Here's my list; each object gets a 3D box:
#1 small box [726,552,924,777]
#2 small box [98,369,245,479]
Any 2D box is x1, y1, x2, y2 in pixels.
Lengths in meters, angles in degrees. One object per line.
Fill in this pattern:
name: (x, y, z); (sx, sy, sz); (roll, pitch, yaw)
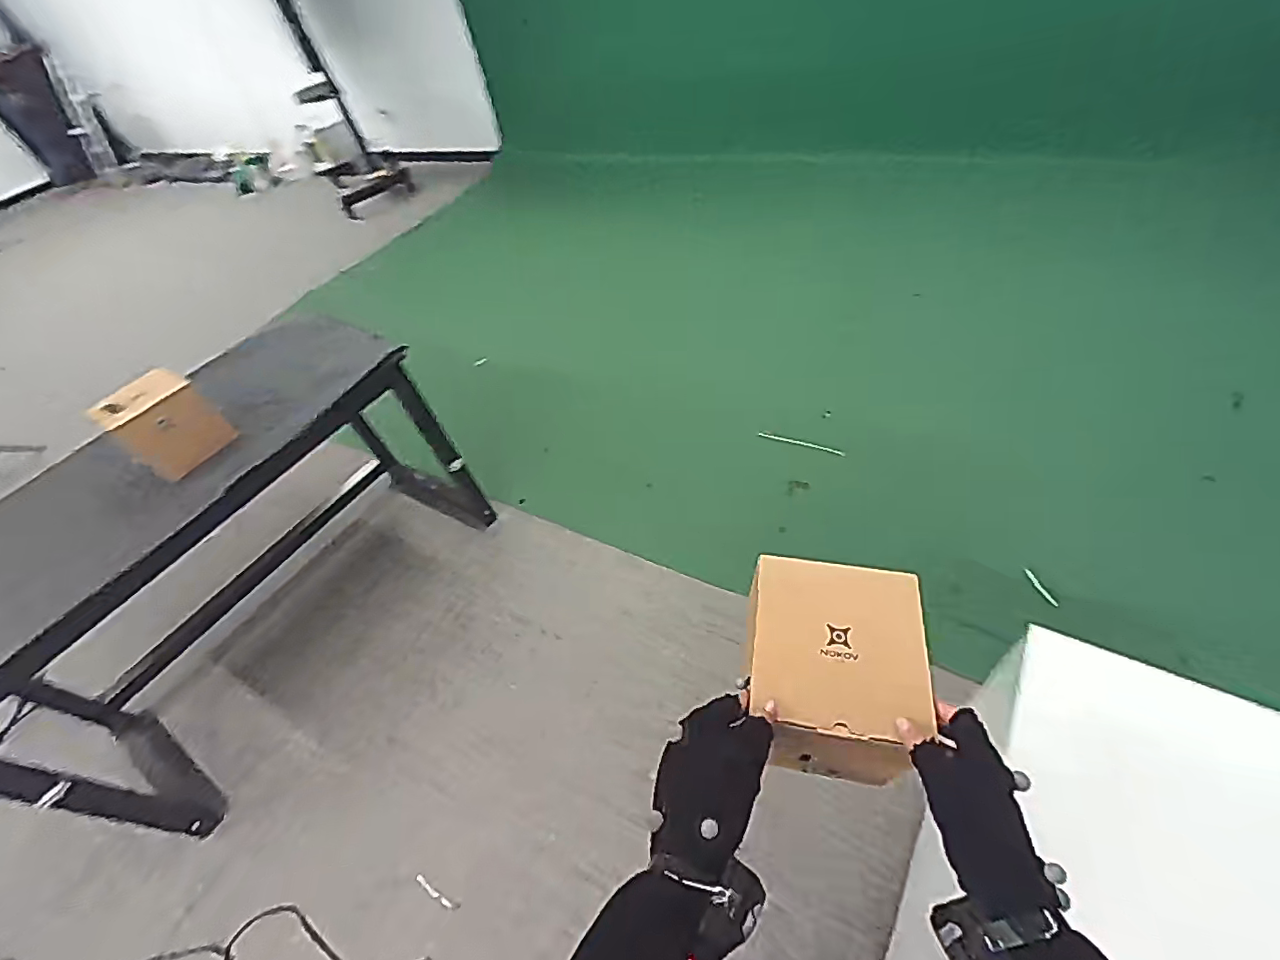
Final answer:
small box: (0.187, 0.204, 0.596); (0.168, 0.176, 0.179); (6, 53, 8)
small box: (-1.096, -0.129, 1.277); (0.168, 0.176, 0.179); (21, 56, 29)
